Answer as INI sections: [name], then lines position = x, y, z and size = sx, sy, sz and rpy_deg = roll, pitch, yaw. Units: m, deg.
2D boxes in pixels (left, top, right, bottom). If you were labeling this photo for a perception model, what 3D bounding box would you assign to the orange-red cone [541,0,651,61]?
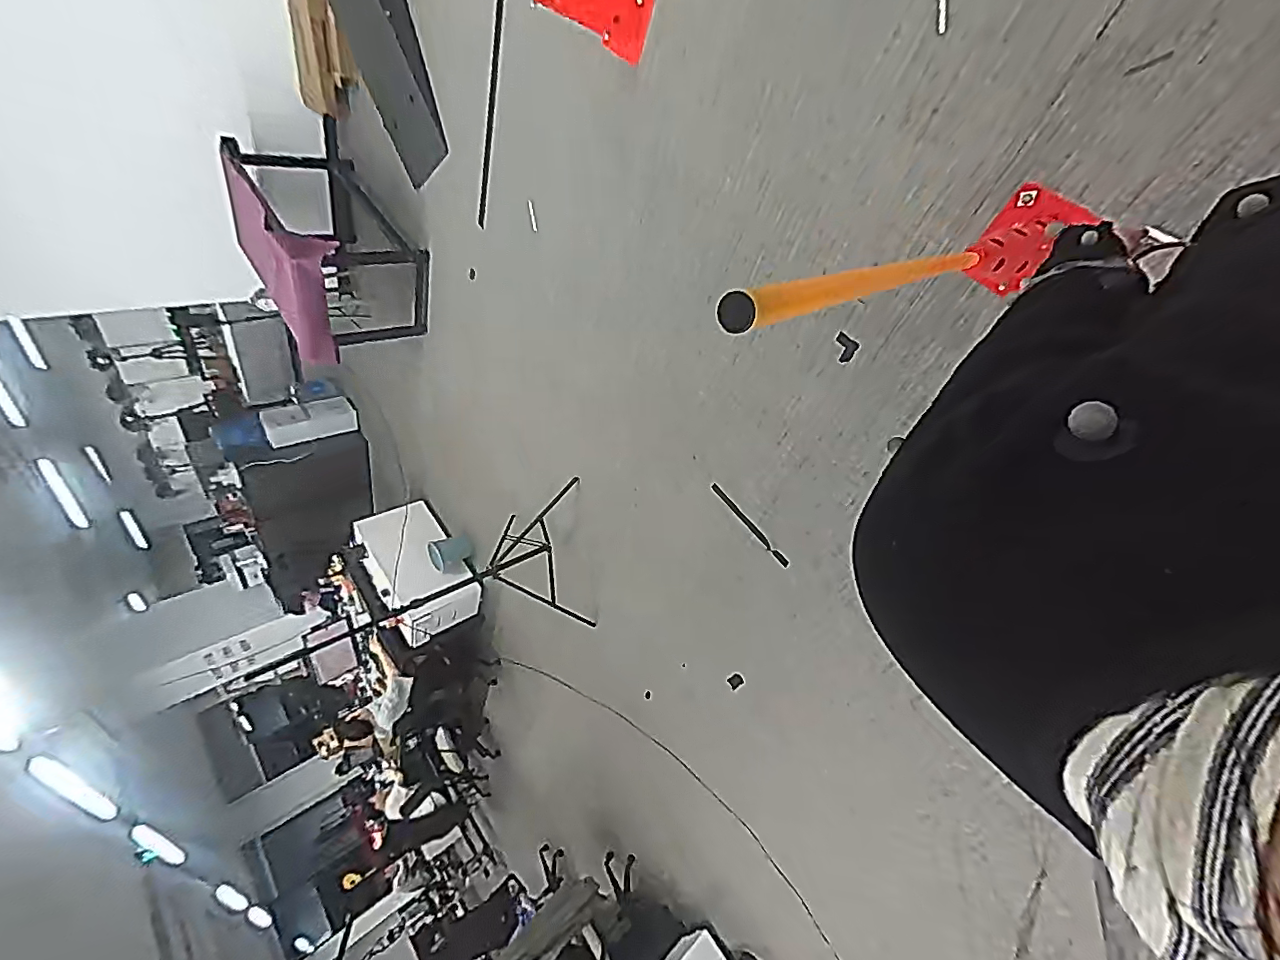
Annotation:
[orange-red cone]
position = -0.175, -1.401, 1.579
size = 0.199, 0.360, 0.198
rpy_deg = 51, 139, 22
